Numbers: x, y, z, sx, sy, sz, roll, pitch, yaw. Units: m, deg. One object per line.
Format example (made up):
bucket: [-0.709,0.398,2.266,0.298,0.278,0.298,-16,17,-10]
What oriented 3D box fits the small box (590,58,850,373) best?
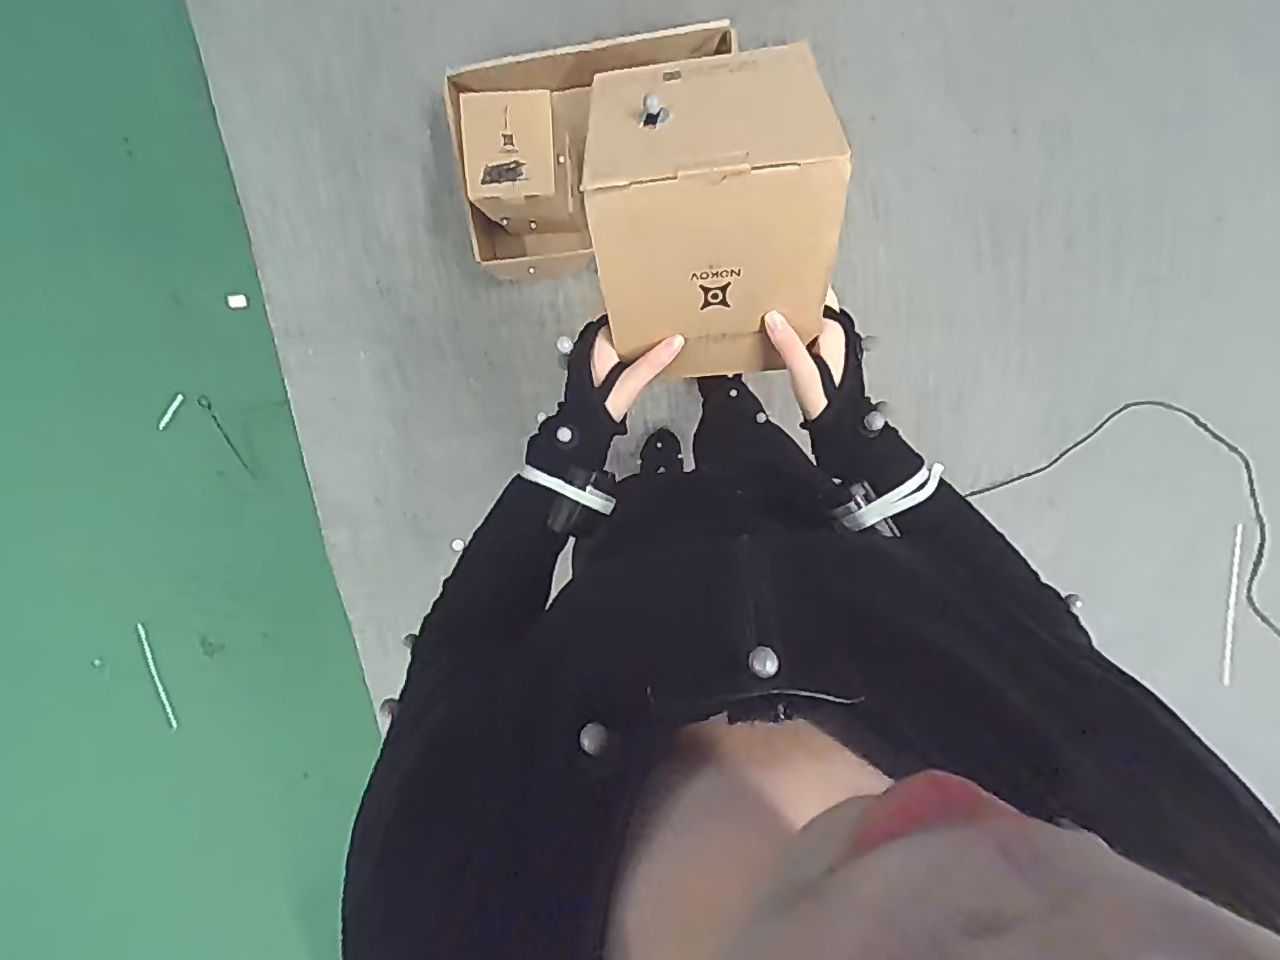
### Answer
small box: [0.056,-0.214,0.445,0.168,0.176,0.179,-2,147,6]

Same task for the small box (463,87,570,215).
small box: [-0.231,-0.627,1.054,0.168,0.176,0.179,-1,102,2]
